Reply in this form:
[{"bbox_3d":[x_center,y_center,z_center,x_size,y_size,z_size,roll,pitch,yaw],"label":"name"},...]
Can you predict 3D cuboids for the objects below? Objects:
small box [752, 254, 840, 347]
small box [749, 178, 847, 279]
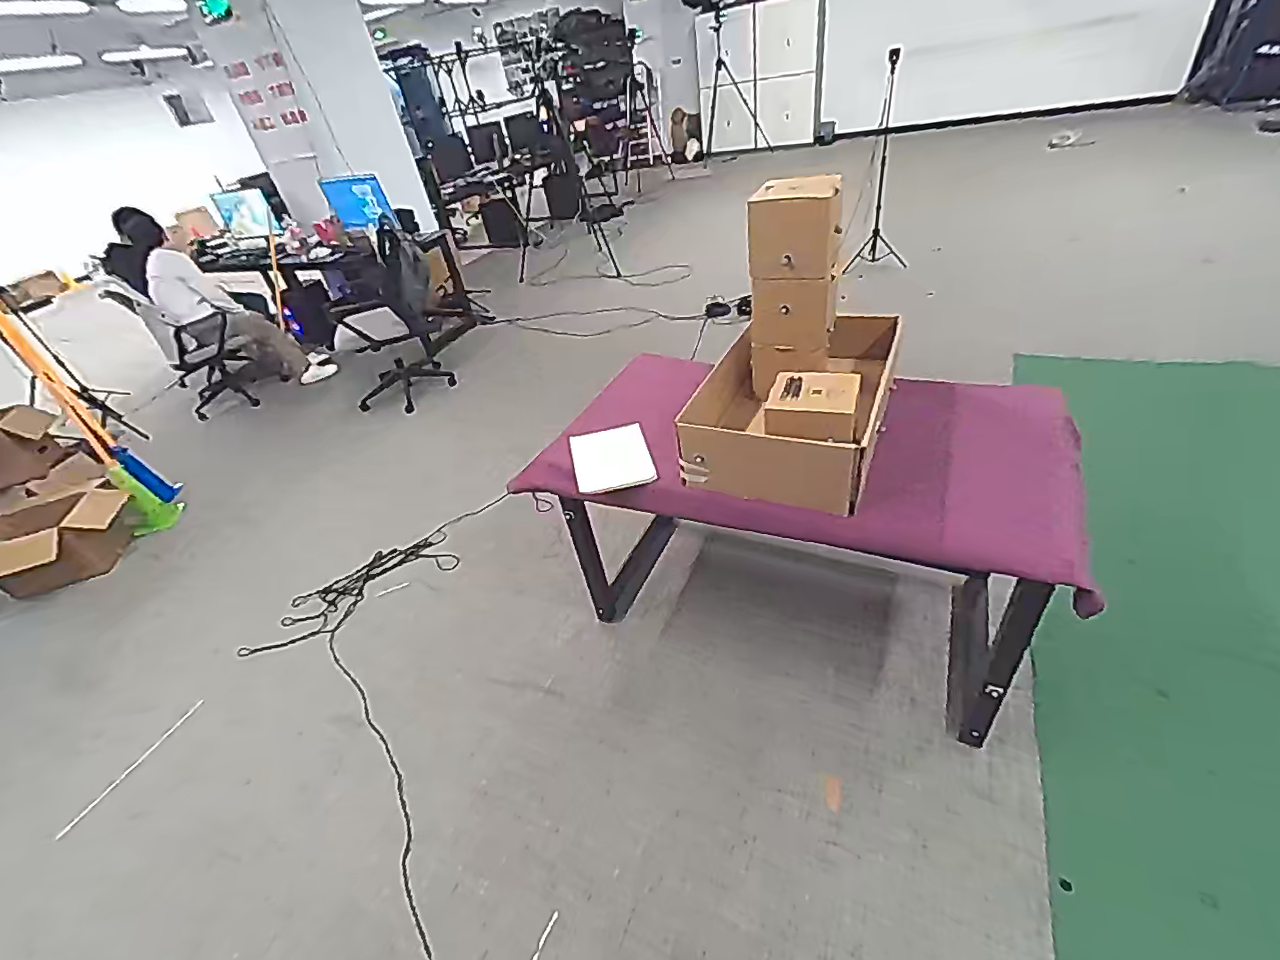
[{"bbox_3d":[0.382,-0.438,1.324,0.179,0.176,0.168,9,43,24],"label":"small box"},{"bbox_3d":[0.355,-0.567,1.225,0.179,0.176,0.168,11,43,25],"label":"small box"}]
